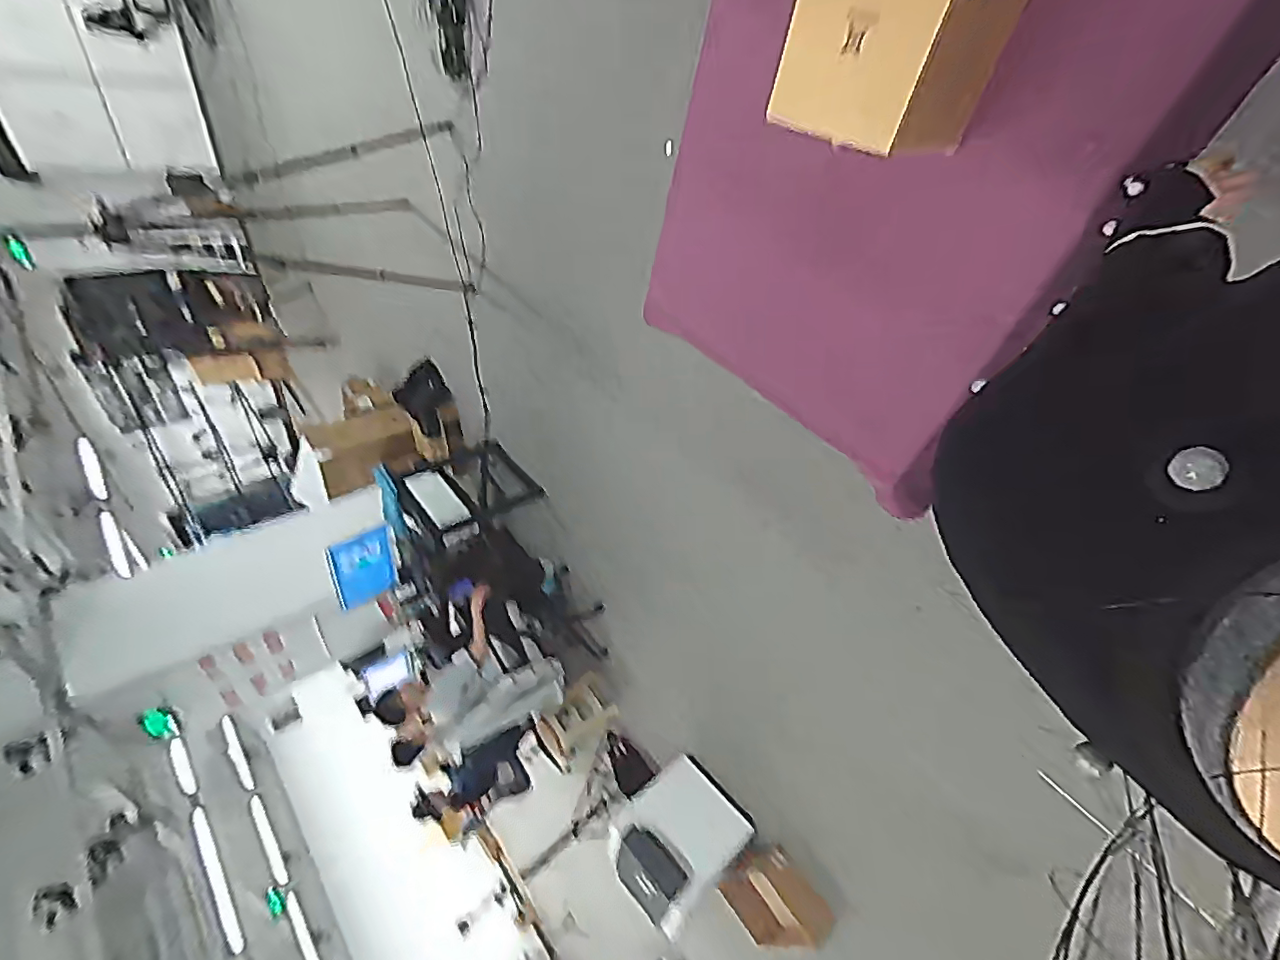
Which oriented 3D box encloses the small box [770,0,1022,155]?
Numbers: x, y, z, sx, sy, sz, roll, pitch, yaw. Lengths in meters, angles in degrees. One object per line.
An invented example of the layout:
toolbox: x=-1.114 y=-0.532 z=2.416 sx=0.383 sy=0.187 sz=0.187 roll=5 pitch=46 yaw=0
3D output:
small box: x=0.278 y=-0.475 z=0.593 sx=0.168 sy=0.176 sz=0.179 roll=41 pitch=137 yaw=30
